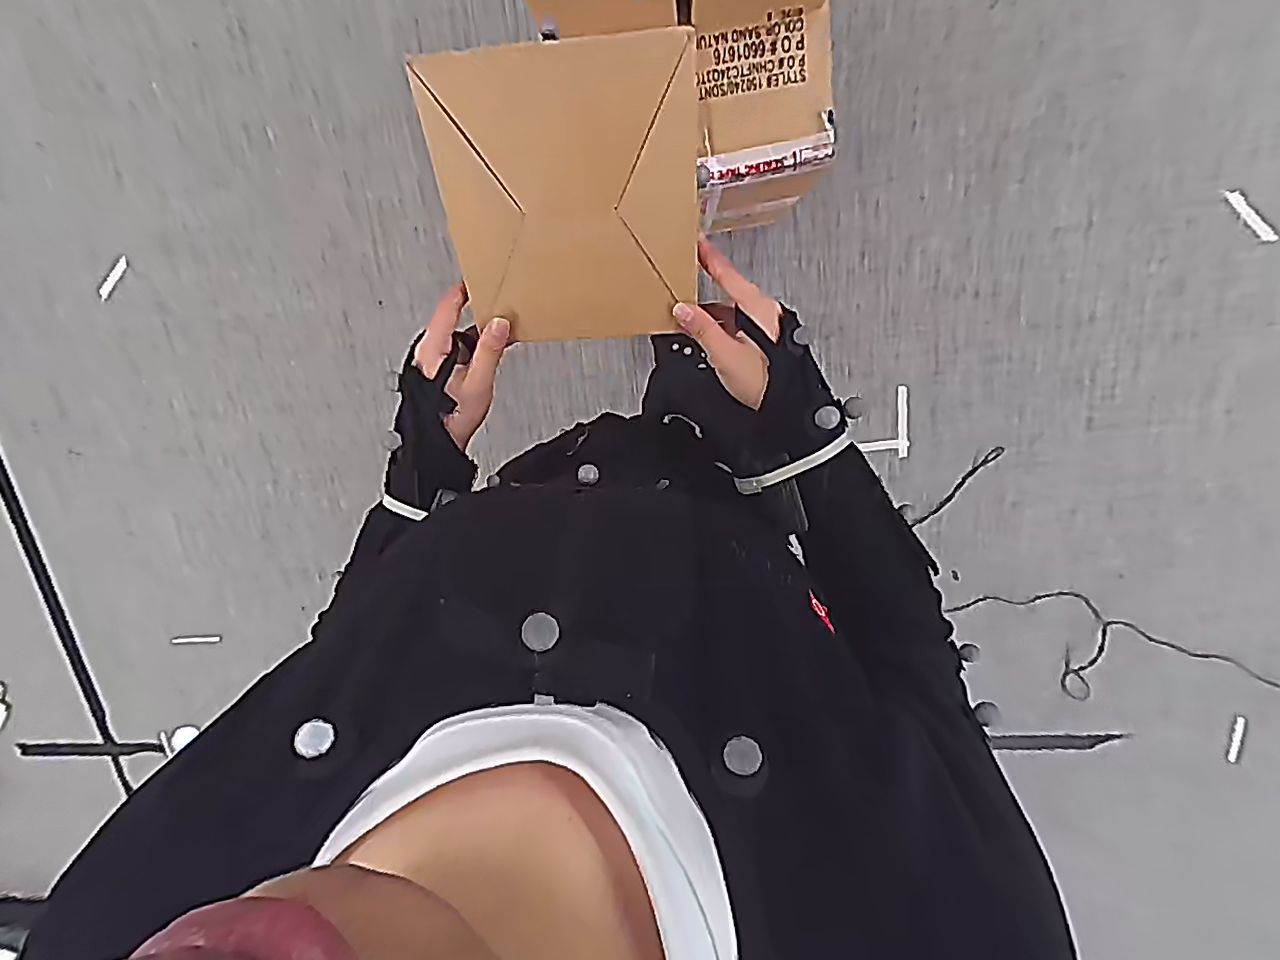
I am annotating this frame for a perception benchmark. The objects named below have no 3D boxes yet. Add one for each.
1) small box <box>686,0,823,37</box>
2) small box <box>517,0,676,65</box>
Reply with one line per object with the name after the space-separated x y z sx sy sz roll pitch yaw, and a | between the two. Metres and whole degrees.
0.139 -0.651 0.616 0.179 0.176 0.168 -5 105 5 | small box
-0.049 -0.629 0.636 0.179 0.176 0.168 -4 105 8 | small box
